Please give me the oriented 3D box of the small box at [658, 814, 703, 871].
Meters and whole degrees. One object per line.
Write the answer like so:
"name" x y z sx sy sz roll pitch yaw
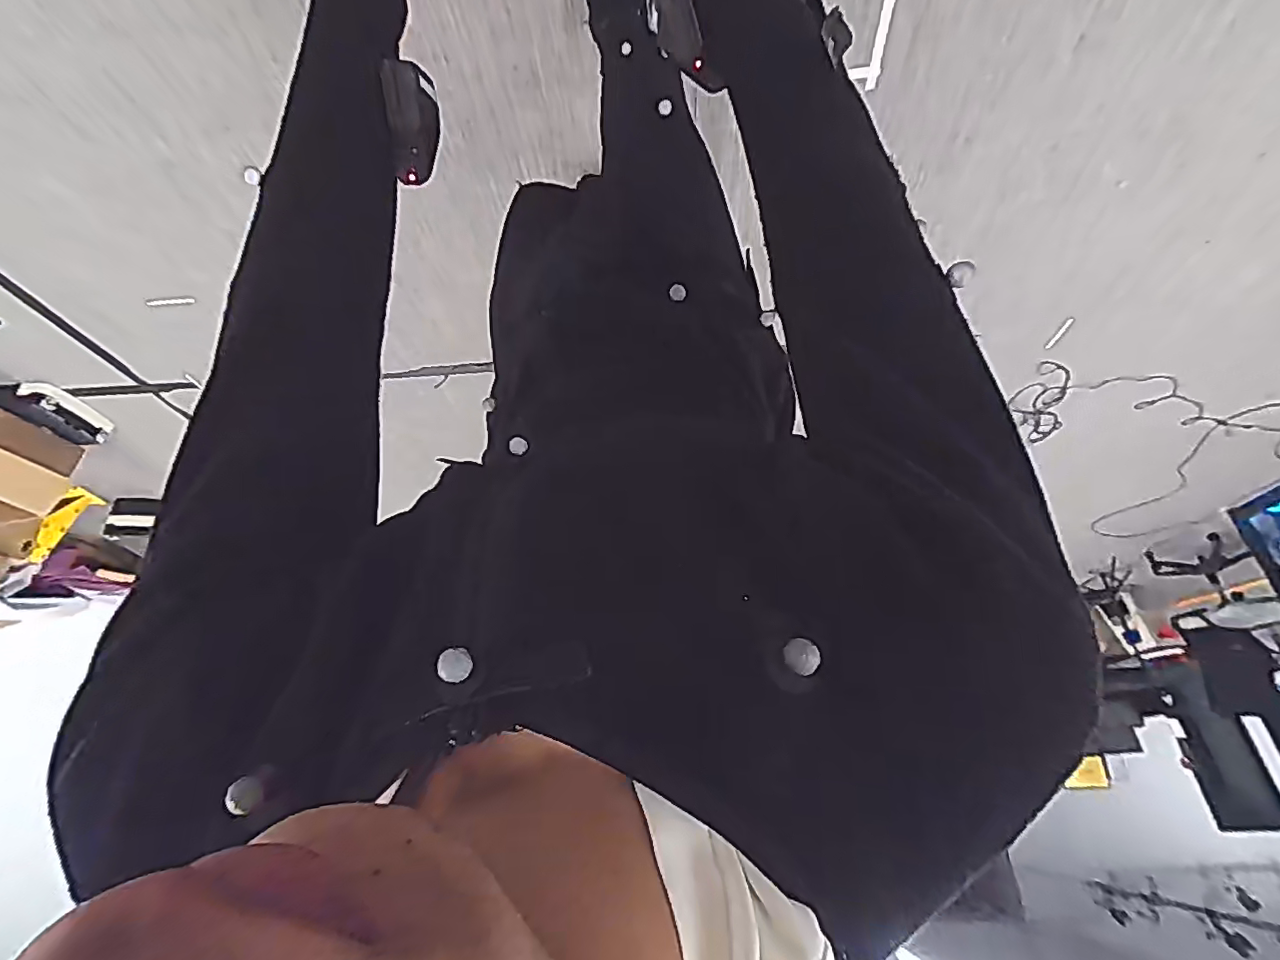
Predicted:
"small box" 0.157 1.420 2.125 0.168 0.176 0.179 -4 152 3
